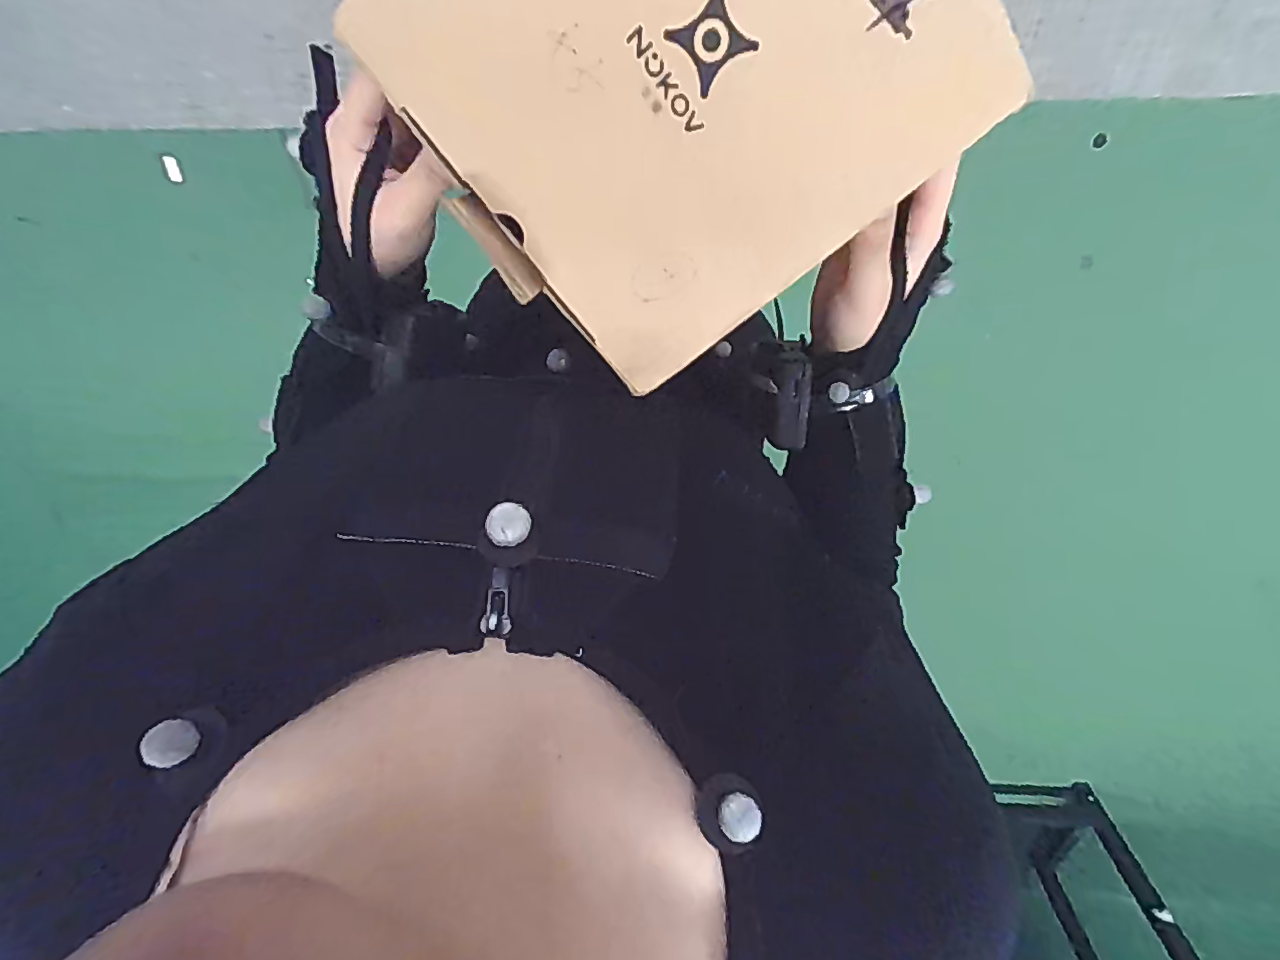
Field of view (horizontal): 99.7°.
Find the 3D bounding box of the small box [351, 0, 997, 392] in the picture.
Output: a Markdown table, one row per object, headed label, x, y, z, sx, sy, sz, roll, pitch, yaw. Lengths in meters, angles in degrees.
| label | x | y | z | sx | sy | sz | roll | pitch | yaw |
| --- | --- | --- | --- | --- | --- | --- | --- | --- | --- |
| small box | 0.015 | -0.176 | 0.264 | 0.179 | 0.176 | 0.168 | -35 | 111 | 17 |
